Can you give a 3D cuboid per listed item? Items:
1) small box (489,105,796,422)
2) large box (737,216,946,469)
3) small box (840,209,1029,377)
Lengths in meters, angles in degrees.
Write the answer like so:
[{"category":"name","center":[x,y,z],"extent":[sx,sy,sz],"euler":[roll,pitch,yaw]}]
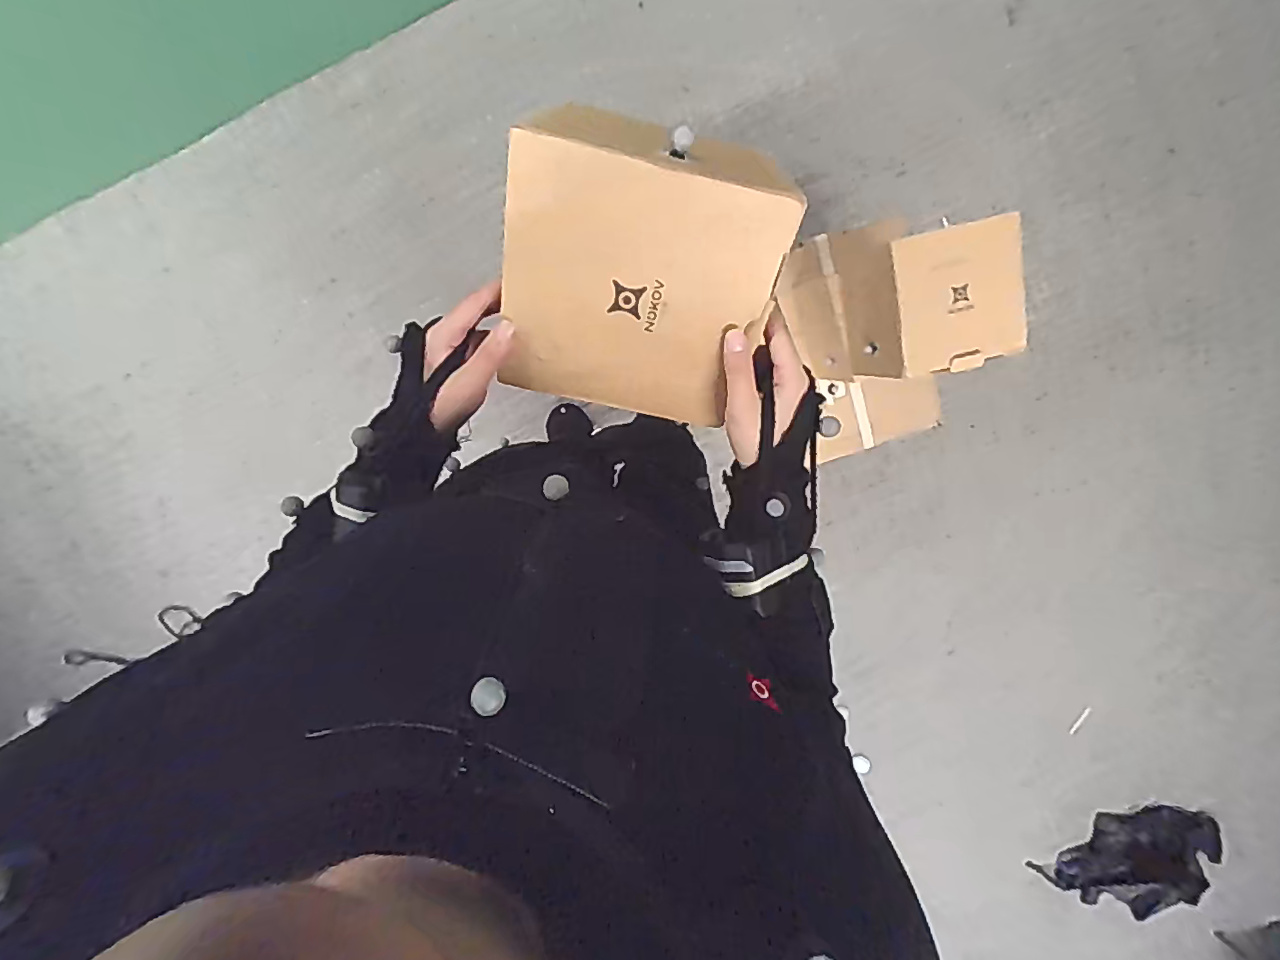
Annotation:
[{"category":"small box","center":[-0.005,-0.171,0.415],"extent":[0.179,0.176,0.168],"euler":[11,129,-5]},{"category":"large box","center":[0.390,-0.284,1.166],"extent":[0.320,0.320,0.408],"euler":[-18,103,3]},{"category":"small box","center":[0.401,-0.250,0.757],"extent":[0.168,0.176,0.179],"euler":[-14,102,0]}]
